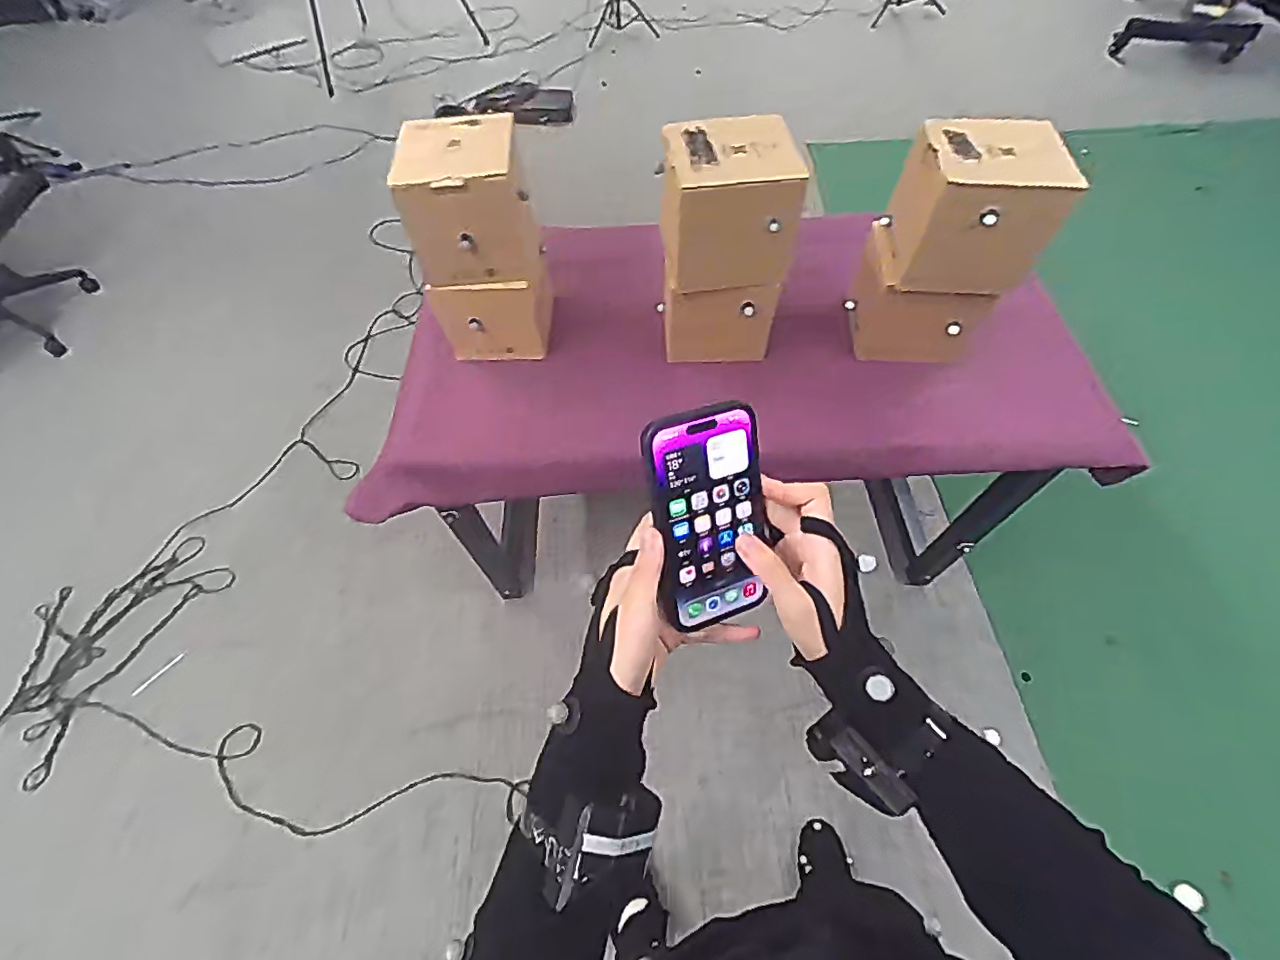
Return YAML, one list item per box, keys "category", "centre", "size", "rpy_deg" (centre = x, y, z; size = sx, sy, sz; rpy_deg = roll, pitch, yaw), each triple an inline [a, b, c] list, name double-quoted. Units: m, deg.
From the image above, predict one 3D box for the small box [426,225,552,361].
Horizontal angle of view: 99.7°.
- category: "small box"
  centre: [-0.258, -0.328, 0.973]
  size: [0.168, 0.176, 0.179]
  rpy_deg: [-1, 58, 2]

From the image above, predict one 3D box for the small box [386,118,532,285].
- category: "small box"
  centre: [-0.266, -0.422, 0.838]
  size: [0.168, 0.176, 0.179]
  rpy_deg: [-5, 59, -1]

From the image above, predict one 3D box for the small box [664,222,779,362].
- category: "small box"
  centre: [0.133, -0.324, 0.948]
  size: [0.179, 0.176, 0.168]
  rpy_deg: [-2, 58, 2]

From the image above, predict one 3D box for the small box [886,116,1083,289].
- category: "small box"
  centre: [0.474, -0.397, 0.783]
  size: [0.179, 0.176, 0.168]
  rpy_deg: [3, 58, 4]

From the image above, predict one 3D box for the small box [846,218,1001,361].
- category: "small box"
  centre: [0.472, -0.323, 0.930]
  size: [0.179, 0.176, 0.168]
  rpy_deg: [3, 58, 5]
